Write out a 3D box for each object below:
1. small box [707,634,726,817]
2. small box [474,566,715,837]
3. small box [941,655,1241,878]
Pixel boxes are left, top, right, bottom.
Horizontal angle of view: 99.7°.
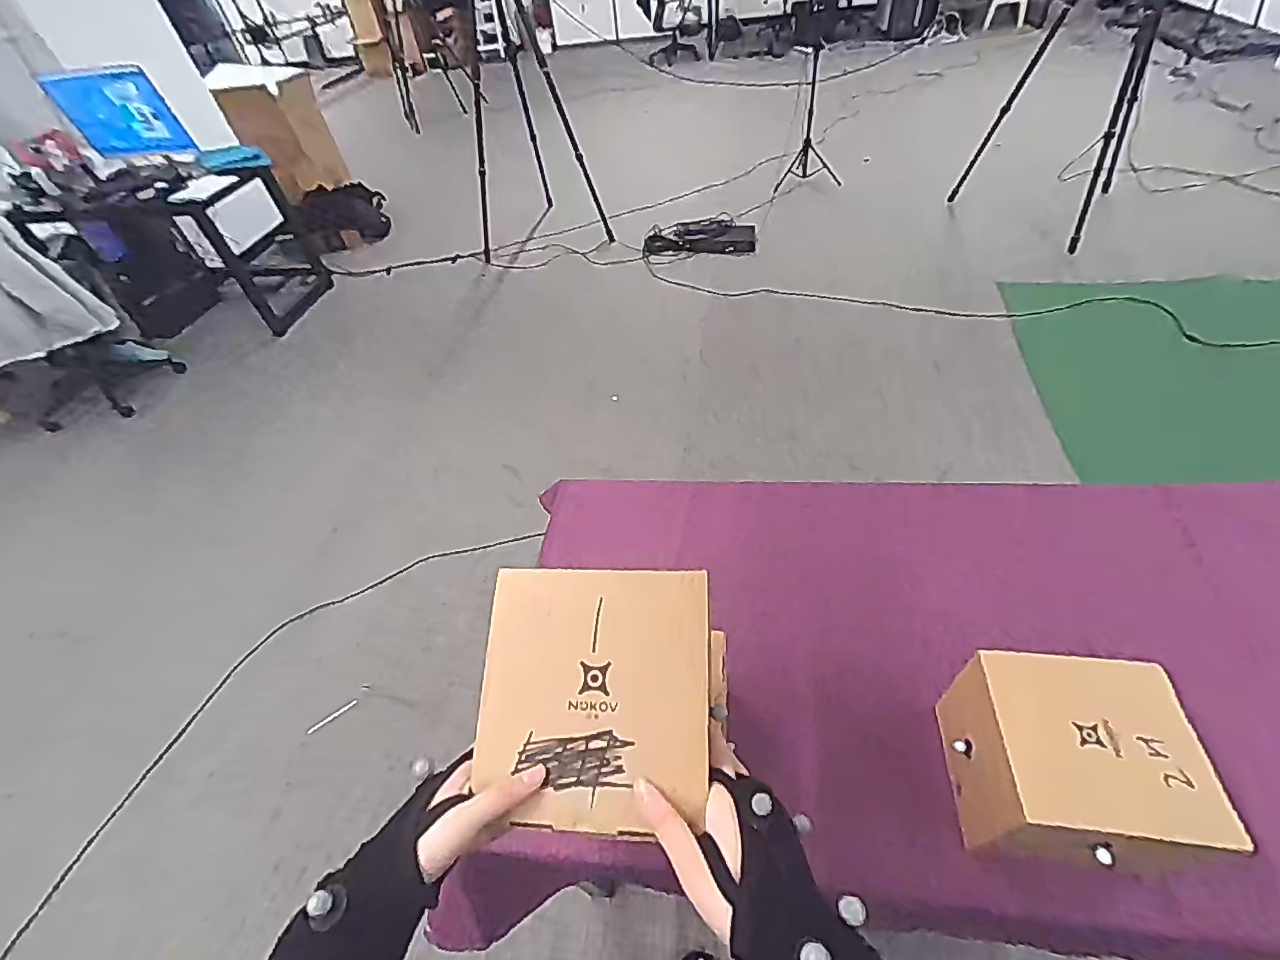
[{"bbox_3d":[0.014,0.295,0.658,0.179,0.176,0.168,2,48,9],"label":"small box"},{"bbox_3d":[-0.020,0.178,0.464,0.168,0.176,0.179,0,68,7],"label":"small box"},{"bbox_3d":[0.447,0.309,0.582,0.179,0.176,0.168,3,49,10],"label":"small box"}]
